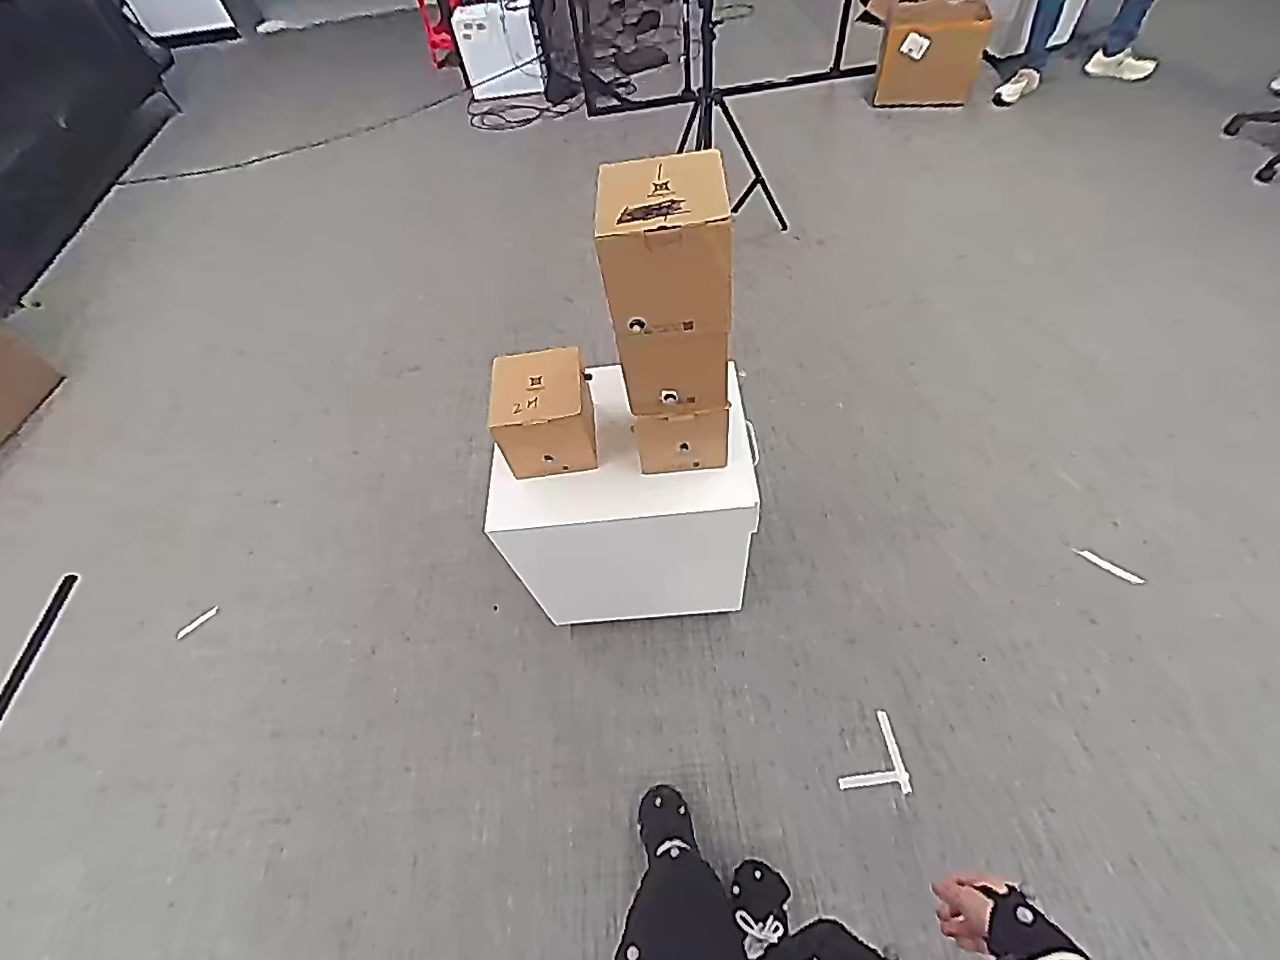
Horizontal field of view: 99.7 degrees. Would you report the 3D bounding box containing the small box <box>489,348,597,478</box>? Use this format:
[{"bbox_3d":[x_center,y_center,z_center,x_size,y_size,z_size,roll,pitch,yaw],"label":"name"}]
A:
[{"bbox_3d":[-0.180,-0.126,1.045,0.168,0.176,0.179,-8,57,2],"label":"small box"}]

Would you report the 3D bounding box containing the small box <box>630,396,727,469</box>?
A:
[{"bbox_3d":[0.074,-0.132,1.017,0.168,0.176,0.179,-6,58,5],"label":"small box"}]

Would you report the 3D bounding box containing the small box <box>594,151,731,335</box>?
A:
[{"bbox_3d":[0.037,-0.317,0.749,0.168,0.176,0.179,-4,55,6],"label":"small box"}]

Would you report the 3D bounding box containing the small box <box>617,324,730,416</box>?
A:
[{"bbox_3d":[0.055,-0.229,0.887,0.168,0.176,0.179,-6,57,6],"label":"small box"}]
